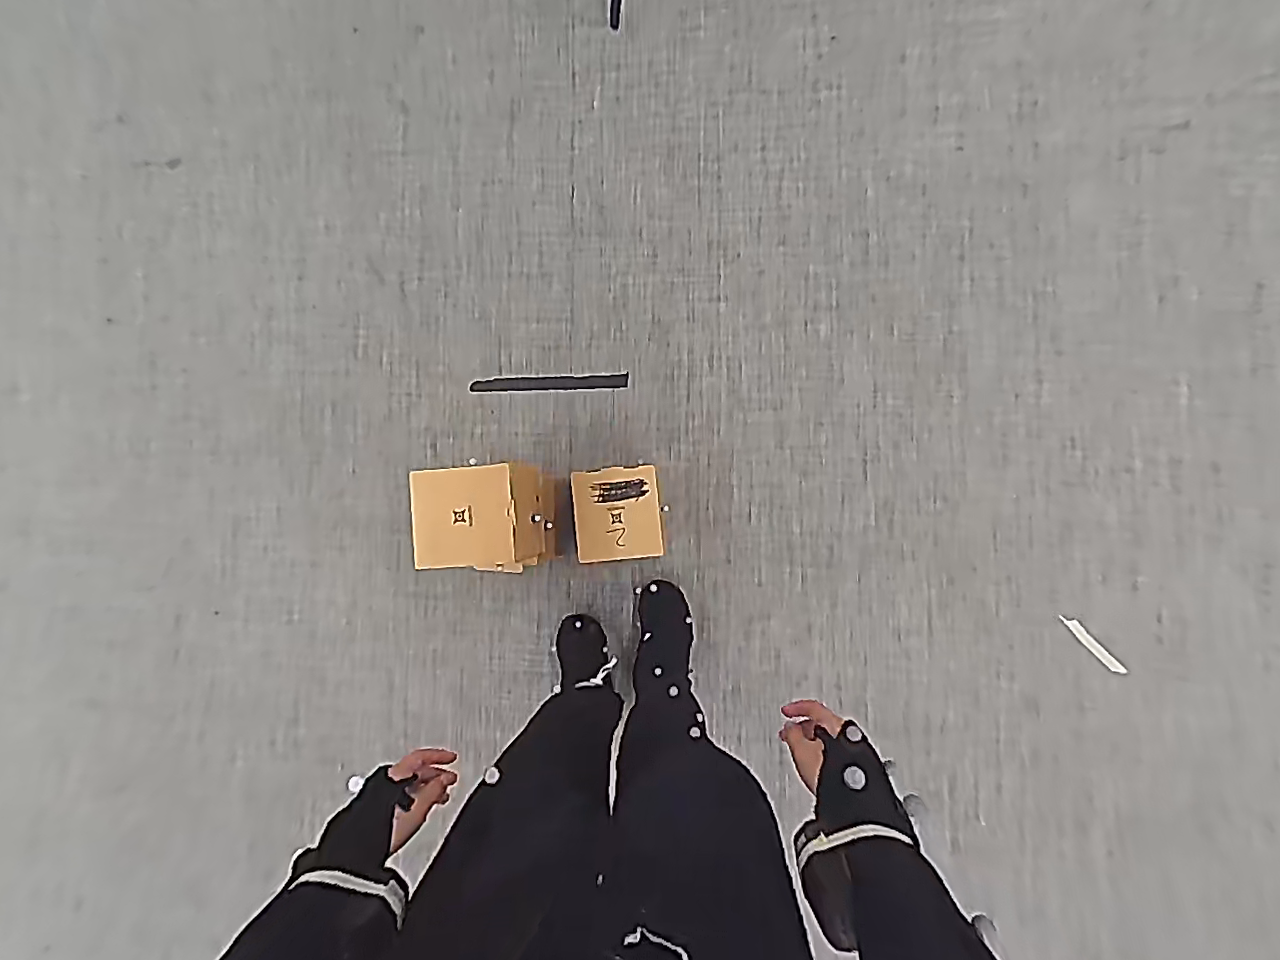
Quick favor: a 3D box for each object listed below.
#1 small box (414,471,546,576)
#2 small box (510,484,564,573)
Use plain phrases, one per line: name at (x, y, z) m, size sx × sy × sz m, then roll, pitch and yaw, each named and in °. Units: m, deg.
small box at (-0.279, 0.078, 0.969) m, size 0.179 × 0.176 × 0.168 m, roll -5°, pitch 87°, yaw 5°
small box at (-0.260, 0.093, 1.130) m, size 0.168 × 0.176 × 0.179 m, roll 2°, pitch 87°, yaw 6°
